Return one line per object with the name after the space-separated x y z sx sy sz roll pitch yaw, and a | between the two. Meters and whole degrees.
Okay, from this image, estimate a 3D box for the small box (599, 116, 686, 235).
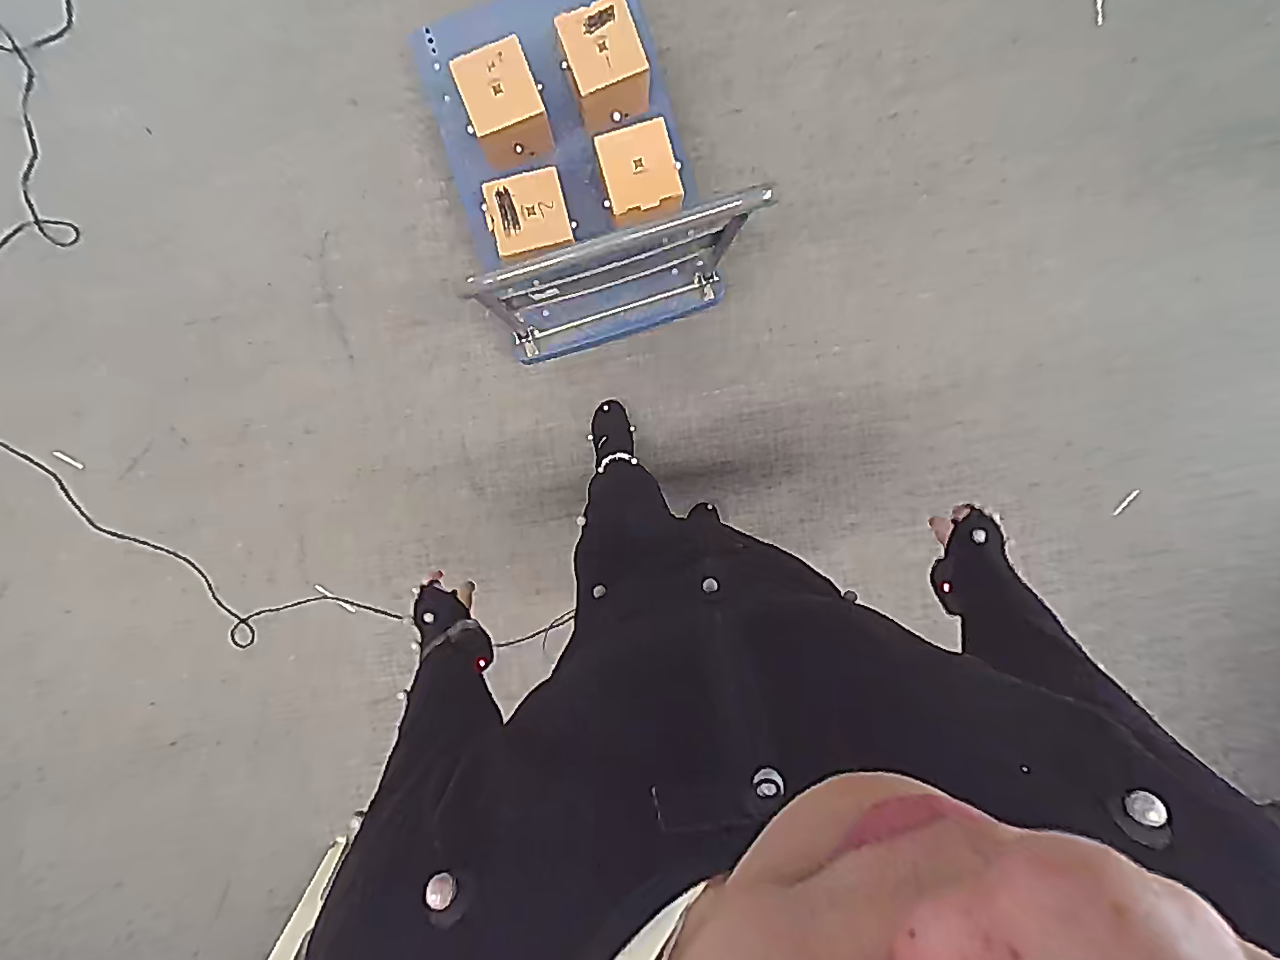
0.004 -0.728 1.311 0.168 0.176 0.179 -17 95 1 | small box

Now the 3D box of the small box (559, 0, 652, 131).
-0.078 -0.985 1.288 0.168 0.176 0.179 -21 95 3 | small box

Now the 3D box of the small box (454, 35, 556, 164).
-0.312 -0.894 1.295 0.168 0.176 0.179 -21 94 1 | small box
